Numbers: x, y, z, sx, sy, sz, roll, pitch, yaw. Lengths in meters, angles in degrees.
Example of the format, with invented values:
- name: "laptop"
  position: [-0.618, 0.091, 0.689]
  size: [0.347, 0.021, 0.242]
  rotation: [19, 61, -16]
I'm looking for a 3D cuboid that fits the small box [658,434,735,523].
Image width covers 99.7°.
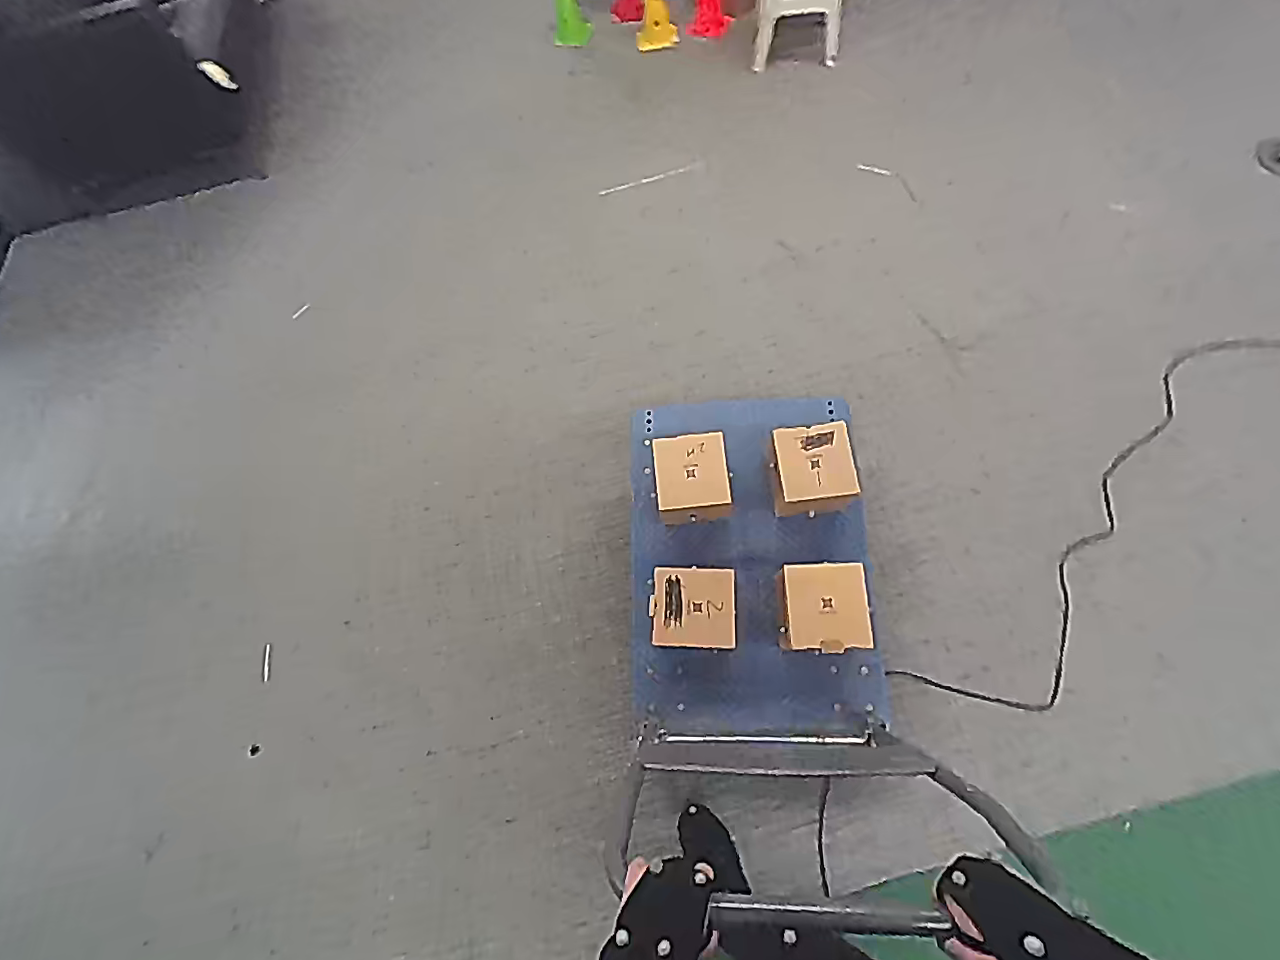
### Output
- name: "small box"
  position: [0.136, 0.004, 1.310]
  size: [0.168, 0.176, 0.179]
  rotation: [-5, 73, 4]

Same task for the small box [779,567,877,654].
- name: "small box"
  position: [0.405, 0.291, 1.195]
  size: [0.168, 0.176, 0.179]
  rotation: [-2, 74, 6]

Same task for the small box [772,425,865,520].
- name: "small box"
  position: [0.414, -0.012, 1.284]
  size: [0.168, 0.176, 0.179]
  rotation: [-6, 74, 5]
